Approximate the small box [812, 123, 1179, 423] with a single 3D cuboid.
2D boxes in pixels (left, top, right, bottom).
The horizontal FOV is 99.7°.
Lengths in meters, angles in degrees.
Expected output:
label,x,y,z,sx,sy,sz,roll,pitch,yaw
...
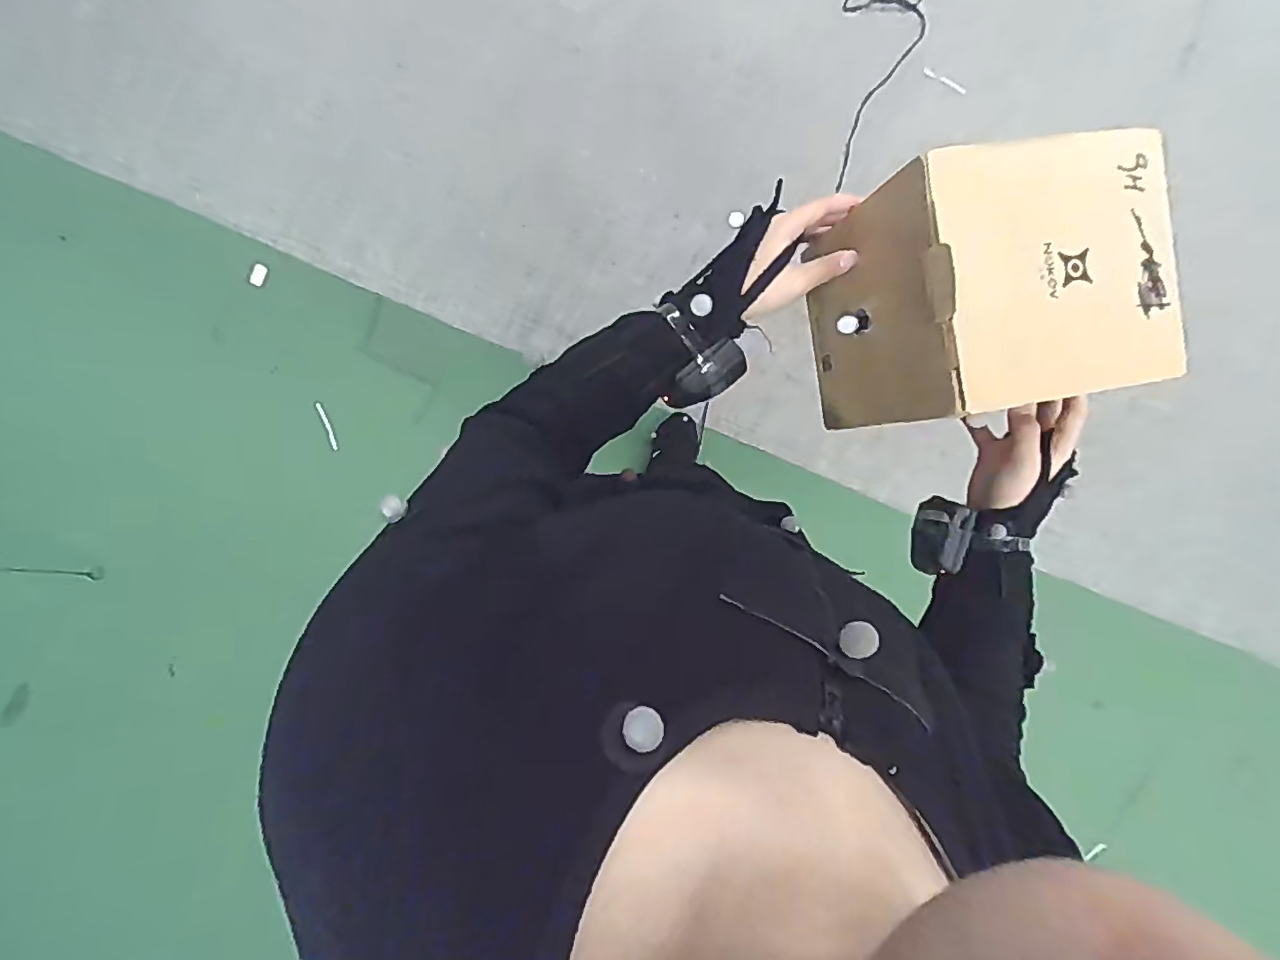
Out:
label,x,y,z,sx,sy,sz,roll,pitch,yaw
small box,0.253,-0.142,0.428,0.179,0.176,0.168,-10,93,-8
